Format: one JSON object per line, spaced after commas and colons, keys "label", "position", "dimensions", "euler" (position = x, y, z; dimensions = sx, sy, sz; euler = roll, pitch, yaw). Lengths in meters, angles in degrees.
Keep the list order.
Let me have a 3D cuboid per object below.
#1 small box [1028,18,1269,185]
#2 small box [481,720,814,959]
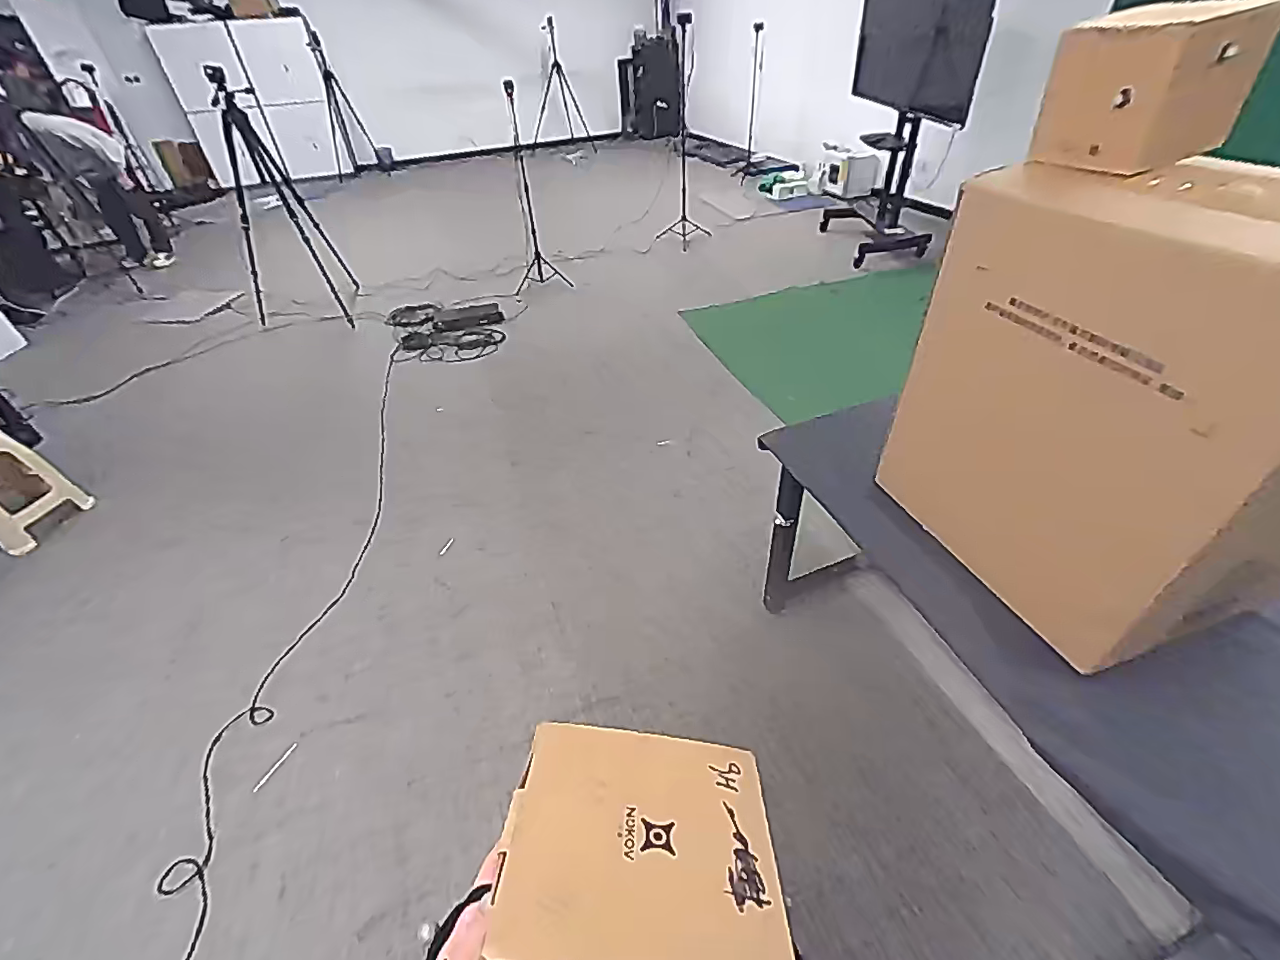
{"label": "small box", "position": [0.707, -0.543, 0.782], "dimensions": [0.179, 0.176, 0.168], "euler": [-19, 42, -13]}
{"label": "small box", "position": [-0.003, 0.298, 0.367], "dimensions": [0.179, 0.176, 0.168], "euler": [9, 18, -1]}
